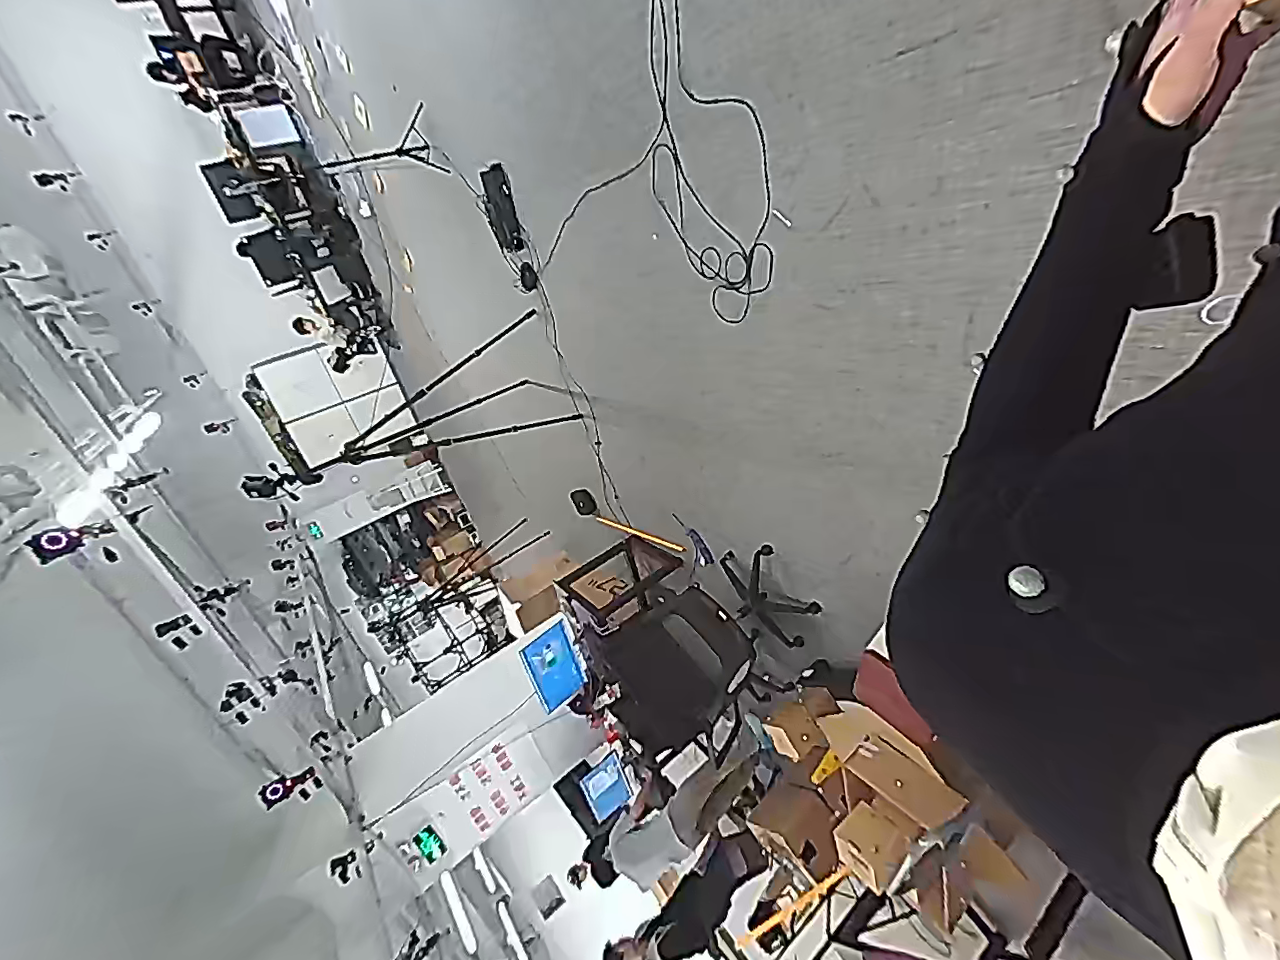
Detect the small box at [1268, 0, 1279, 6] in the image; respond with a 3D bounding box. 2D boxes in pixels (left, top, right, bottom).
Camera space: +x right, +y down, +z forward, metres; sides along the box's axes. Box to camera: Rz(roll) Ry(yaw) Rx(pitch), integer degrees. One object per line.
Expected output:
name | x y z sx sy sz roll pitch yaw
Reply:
small box | 0.417 -0.379 0.265 0.168 0.176 0.179 -1 112 56
